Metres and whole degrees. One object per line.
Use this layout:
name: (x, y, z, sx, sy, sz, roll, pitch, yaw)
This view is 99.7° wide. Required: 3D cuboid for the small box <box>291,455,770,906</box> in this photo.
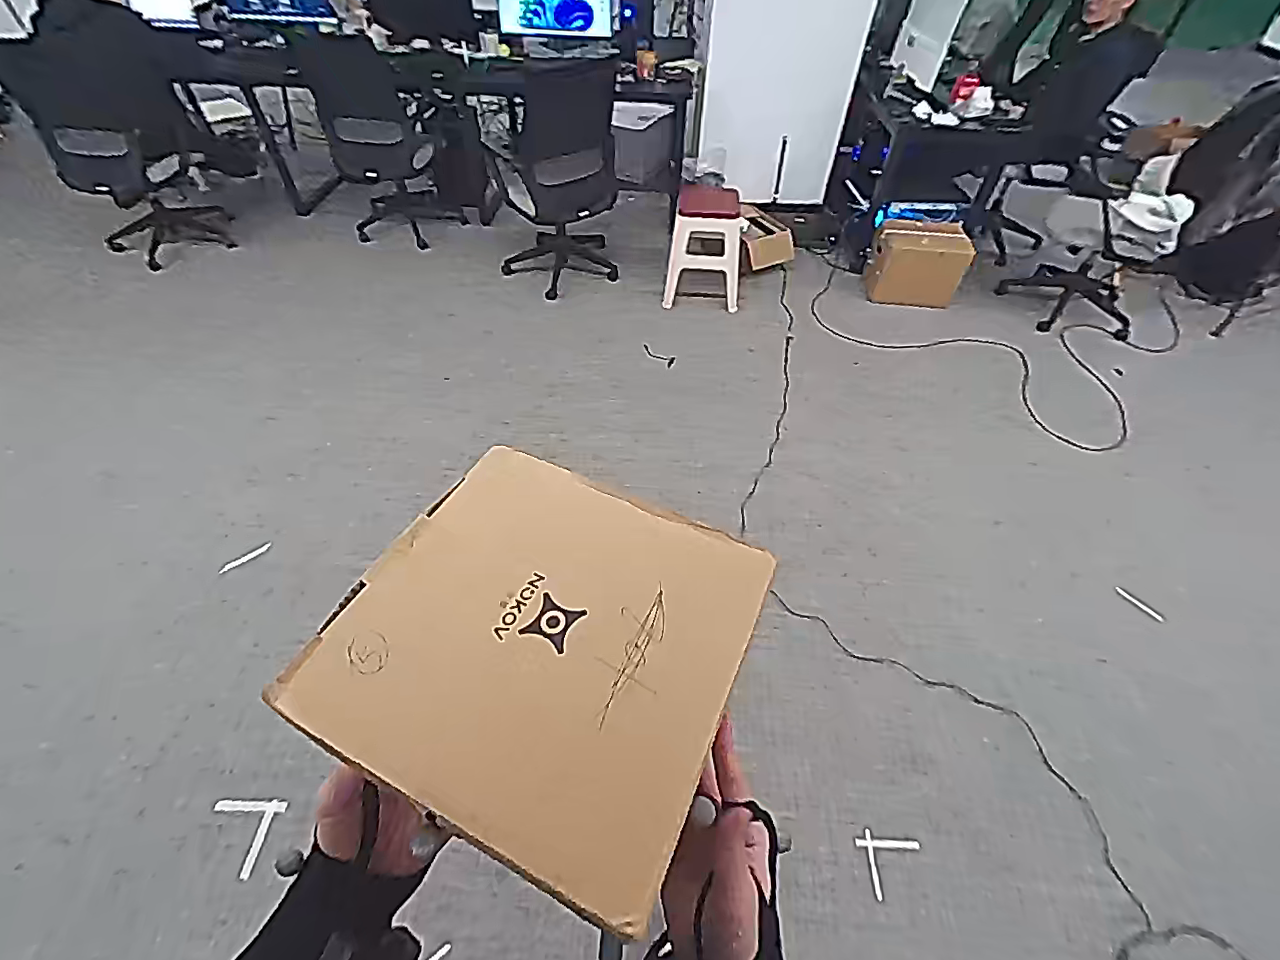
small box: (-0.046, 0.120, 0.321, 0.179, 0.176, 0.168, 21, 51, 14)
